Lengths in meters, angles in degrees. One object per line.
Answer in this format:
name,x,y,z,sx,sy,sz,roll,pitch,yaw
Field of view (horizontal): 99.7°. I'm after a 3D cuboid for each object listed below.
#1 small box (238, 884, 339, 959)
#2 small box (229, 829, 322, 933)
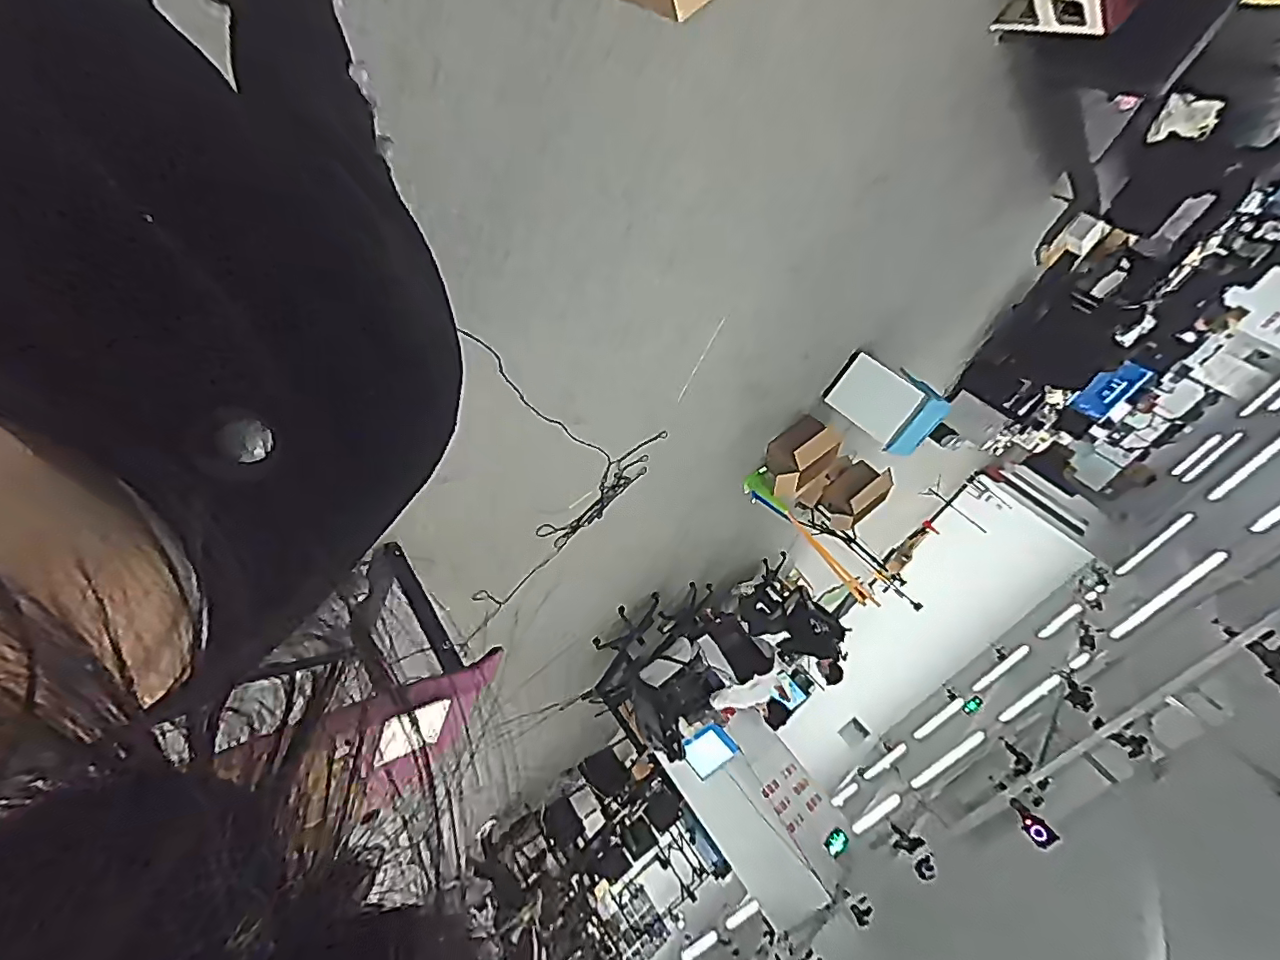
small box,-0.918,1.209,1.409,0.179,0.176,0.168,-4,131,-47
small box,-1.013,1.111,1.496,0.168,0.176,0.179,-1,128,-49
